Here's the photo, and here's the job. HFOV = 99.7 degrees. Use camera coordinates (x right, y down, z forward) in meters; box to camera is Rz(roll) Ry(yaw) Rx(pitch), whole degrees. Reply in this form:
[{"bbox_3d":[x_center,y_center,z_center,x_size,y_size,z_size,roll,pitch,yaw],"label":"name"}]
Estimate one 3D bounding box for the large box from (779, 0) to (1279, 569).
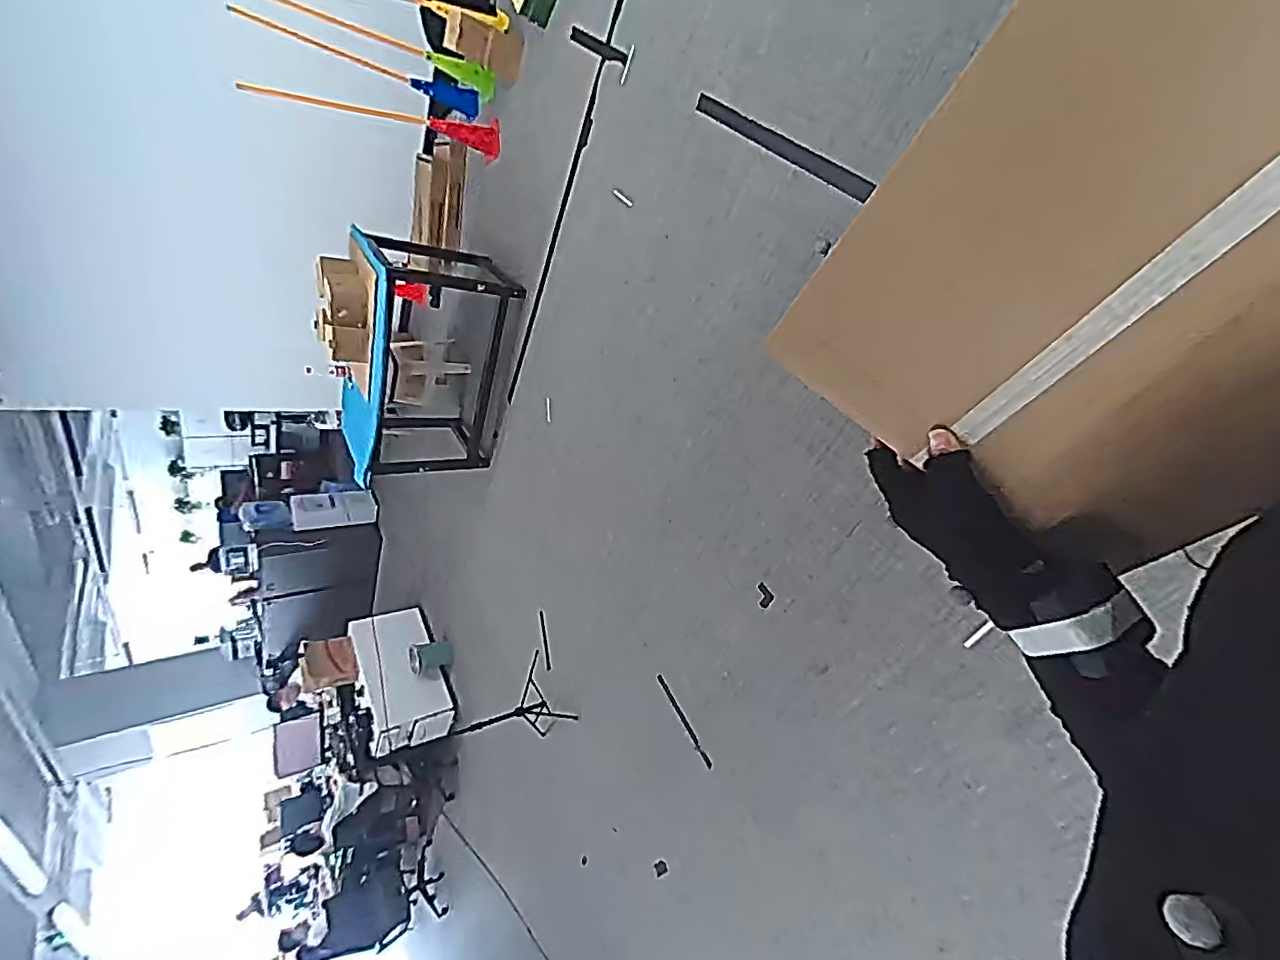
[{"bbox_3d":[0.377,-0.214,0.404,0.320,0.320,0.408,38,135,4],"label":"large box"}]
